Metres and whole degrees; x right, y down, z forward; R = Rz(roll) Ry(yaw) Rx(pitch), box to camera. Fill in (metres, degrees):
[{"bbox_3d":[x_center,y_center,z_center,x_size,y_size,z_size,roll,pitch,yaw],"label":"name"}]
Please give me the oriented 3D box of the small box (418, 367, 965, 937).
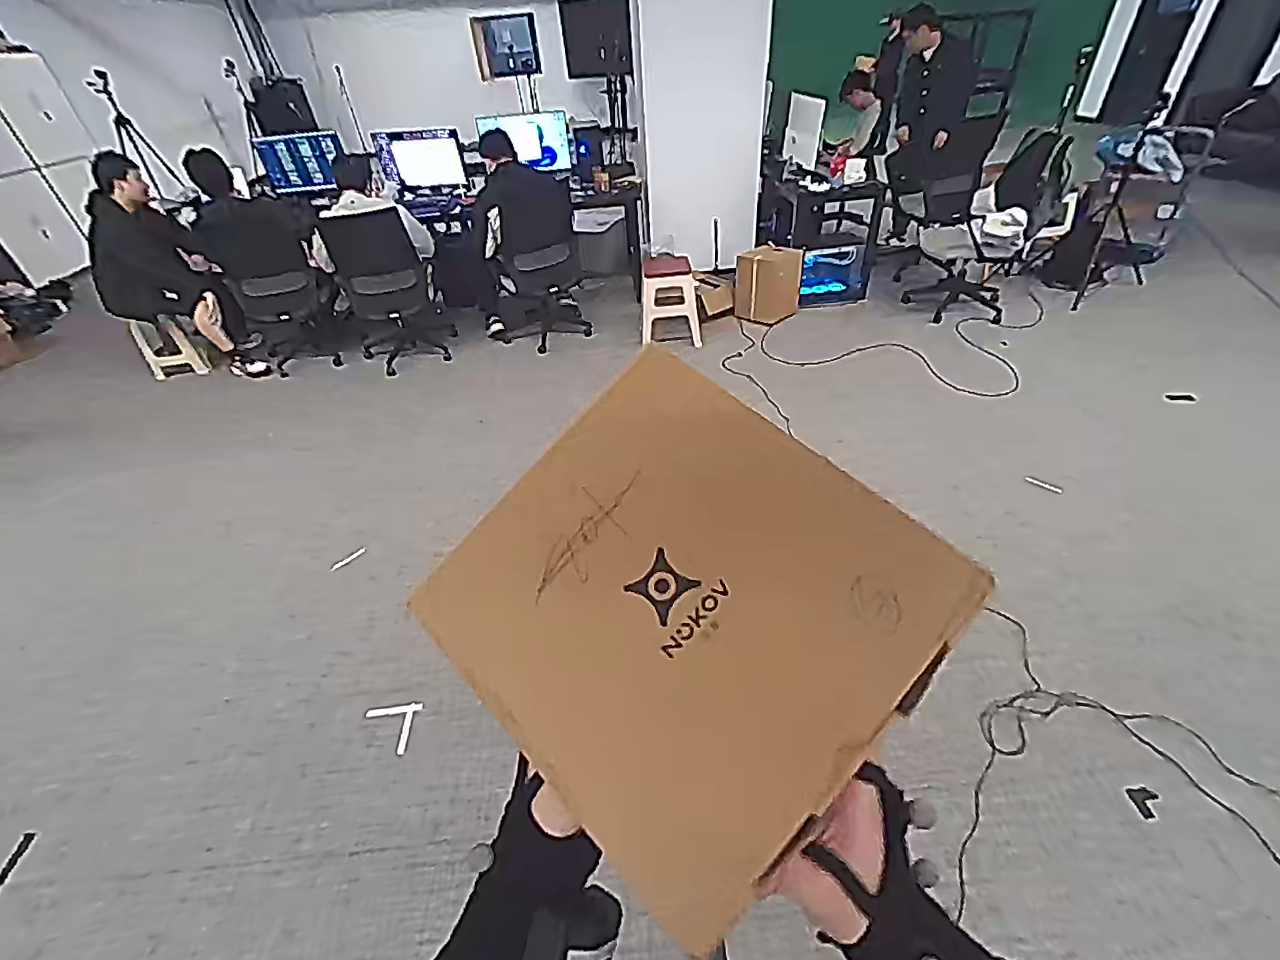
[{"bbox_3d":[0.028,0.077,0.301,0.179,0.176,0.168,37,82,23],"label":"small box"}]
